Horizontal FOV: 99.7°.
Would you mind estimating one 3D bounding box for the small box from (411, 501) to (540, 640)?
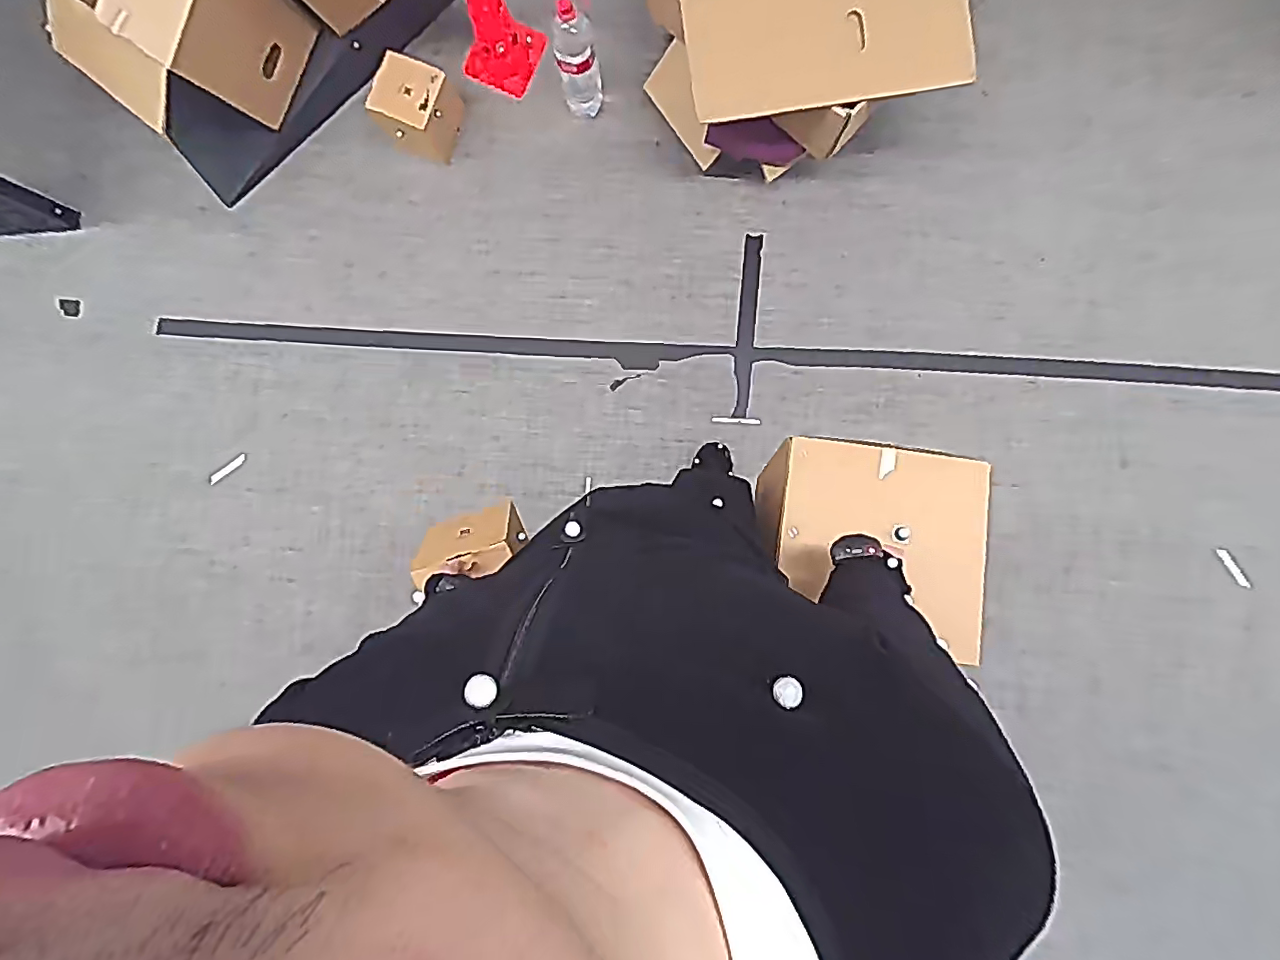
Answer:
[{"bbox_3d":[-0.287,0.169,0.988,0.168,0.179,0.176,-18,113,-3],"label":"small box"}]
